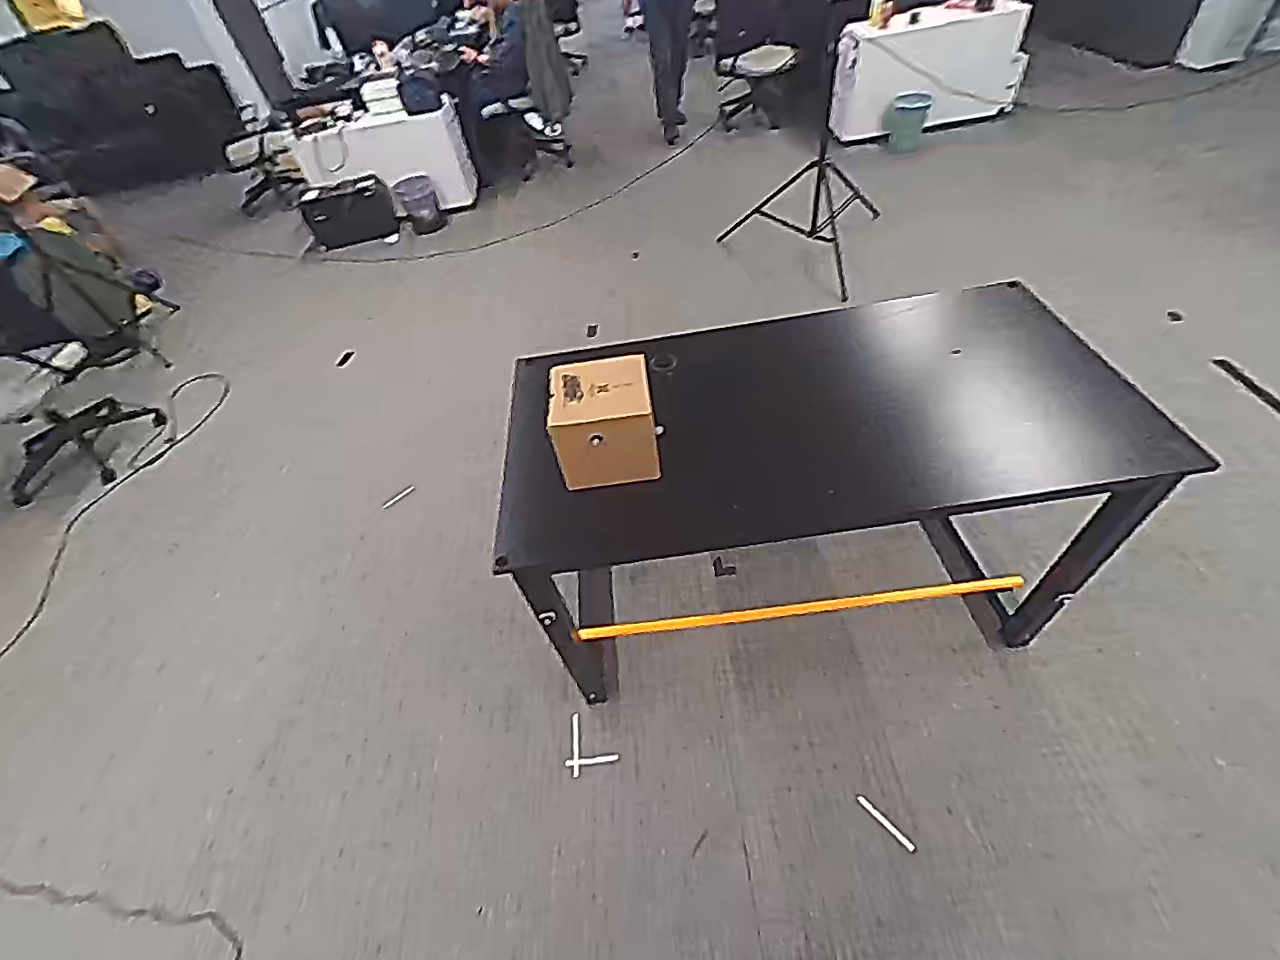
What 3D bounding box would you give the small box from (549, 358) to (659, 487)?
[{"bbox_3d":[-0.063,-0.103,1.014,0.179,0.176,0.168,-7,49,2],"label":"small box"}]
